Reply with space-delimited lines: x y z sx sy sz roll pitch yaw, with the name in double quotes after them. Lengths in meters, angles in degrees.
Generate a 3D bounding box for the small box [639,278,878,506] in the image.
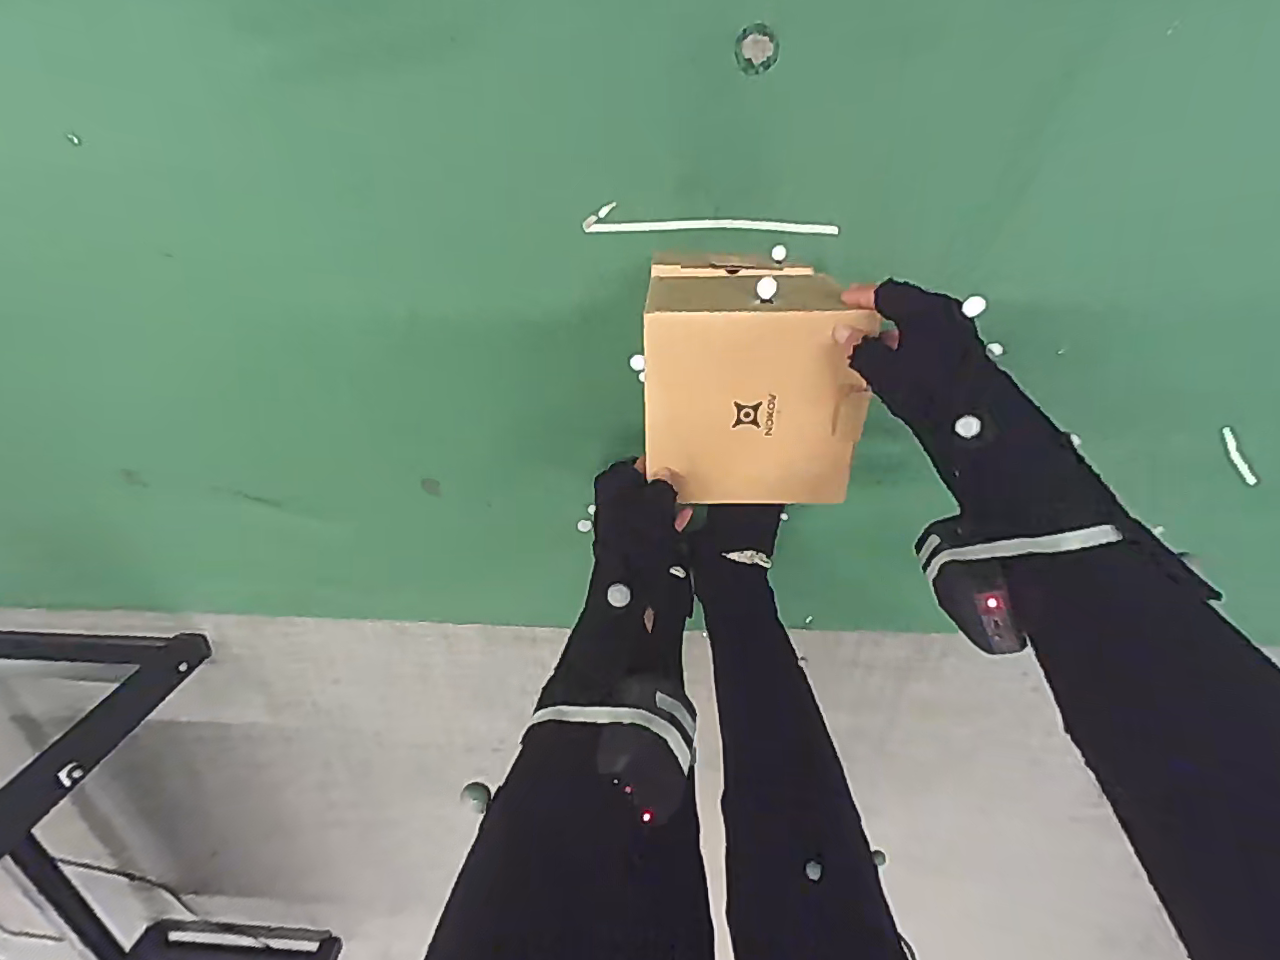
0.091 -0.089 0.504 0.179 0.176 0.168 -1 119 2 "small box"
